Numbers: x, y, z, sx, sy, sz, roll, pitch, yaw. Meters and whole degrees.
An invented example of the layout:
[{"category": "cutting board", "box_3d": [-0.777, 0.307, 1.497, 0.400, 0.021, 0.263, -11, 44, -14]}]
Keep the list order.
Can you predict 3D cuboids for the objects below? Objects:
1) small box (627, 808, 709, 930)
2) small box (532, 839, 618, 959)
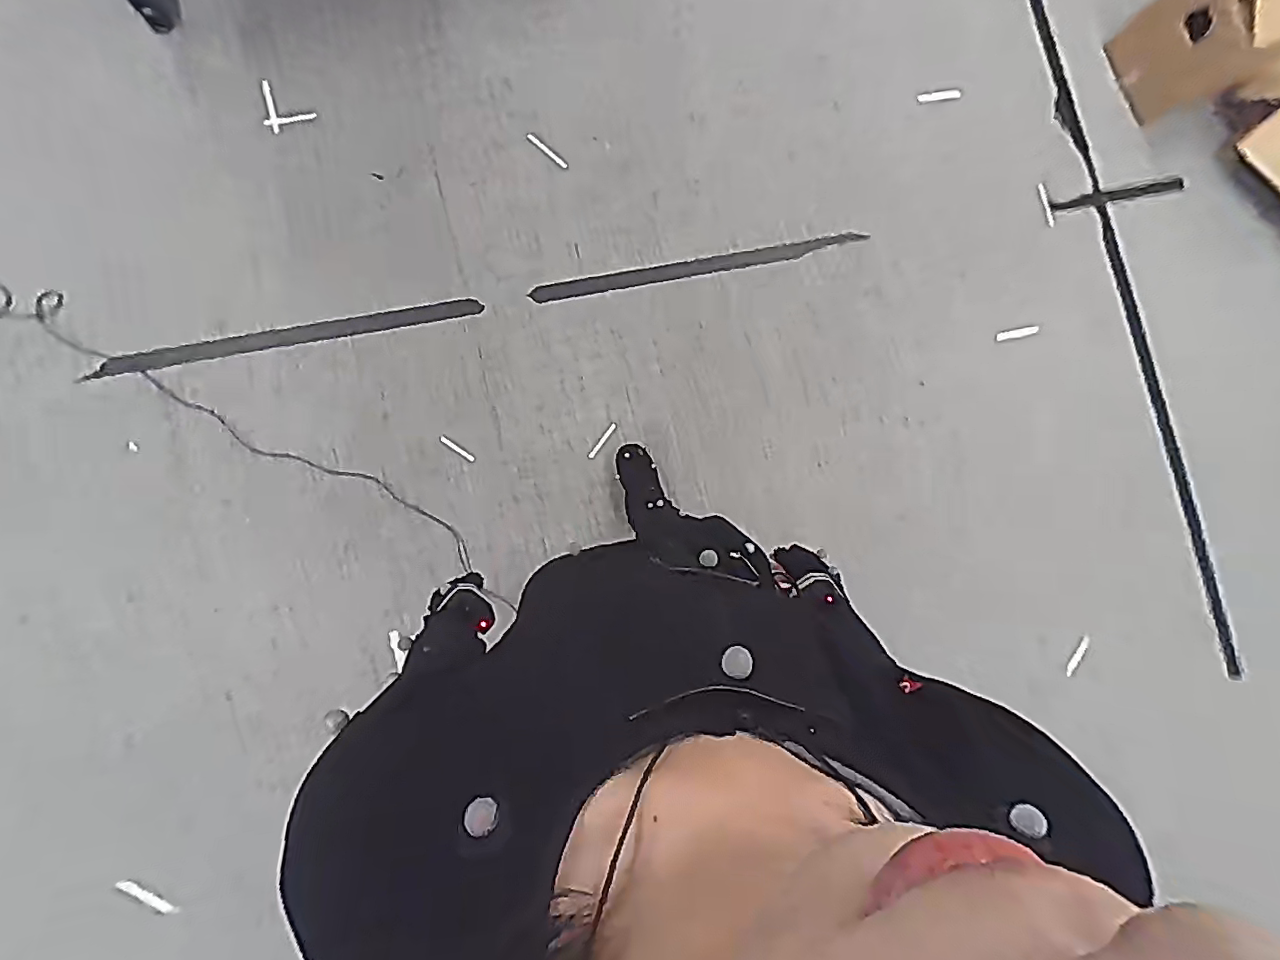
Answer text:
[{"category": "small box", "box_3d": [0.066, 0.992, 1.393, 0.168, 0.176, 0.179, -11, 86, -8]}, {"category": "small box", "box_3d": [-0.163, 1.050, 1.363, 0.179, 0.176, 0.168, -15, 86, -7]}]
